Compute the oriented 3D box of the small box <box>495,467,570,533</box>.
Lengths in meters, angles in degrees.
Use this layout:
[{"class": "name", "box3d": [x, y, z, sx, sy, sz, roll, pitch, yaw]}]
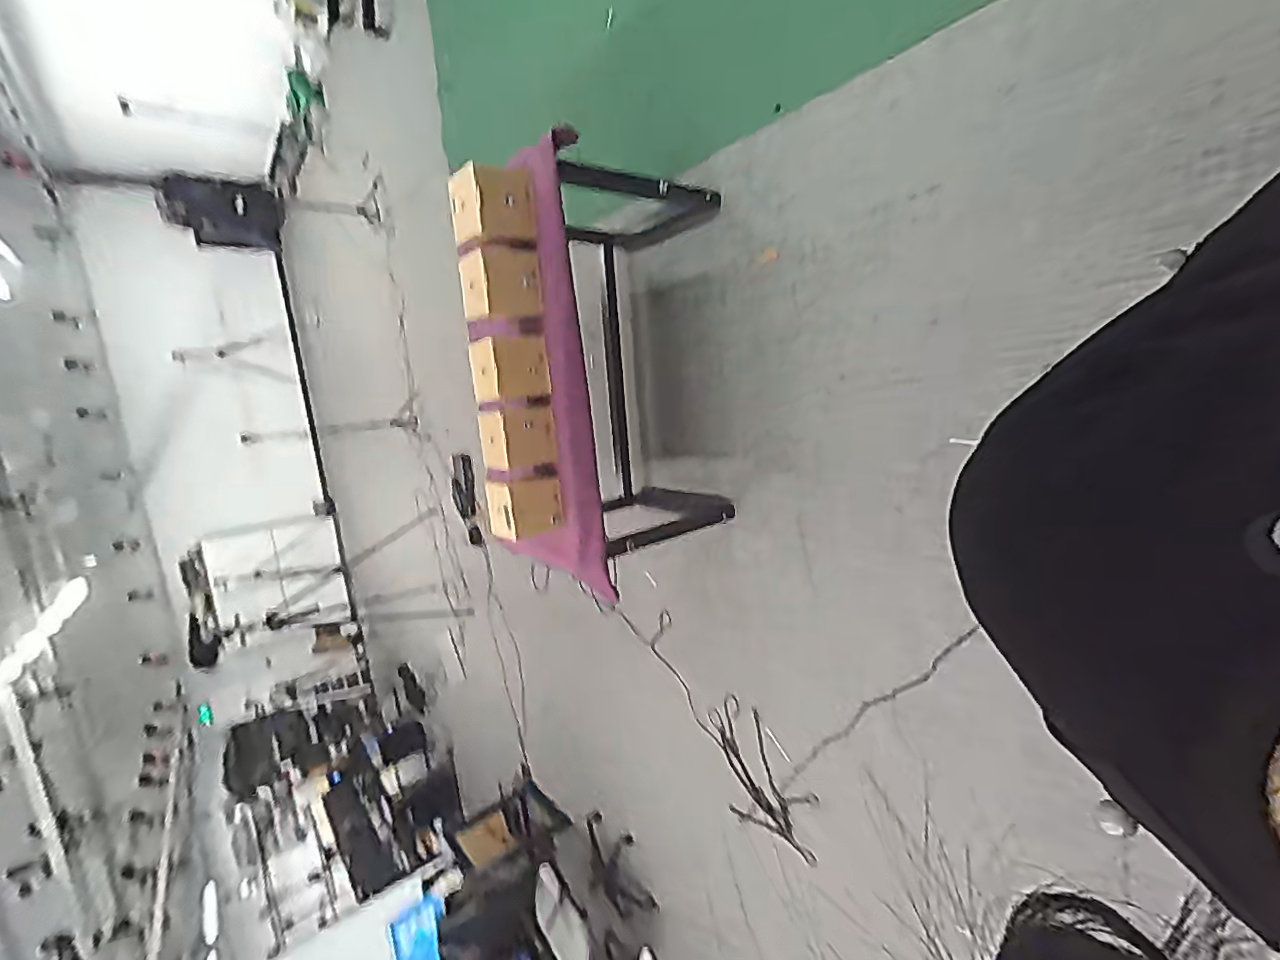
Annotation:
[{"class": "small box", "box3d": [-0.328, 0.056, 1.686, 0.179, 0.176, 0.168, 7, 106, 52]}]
